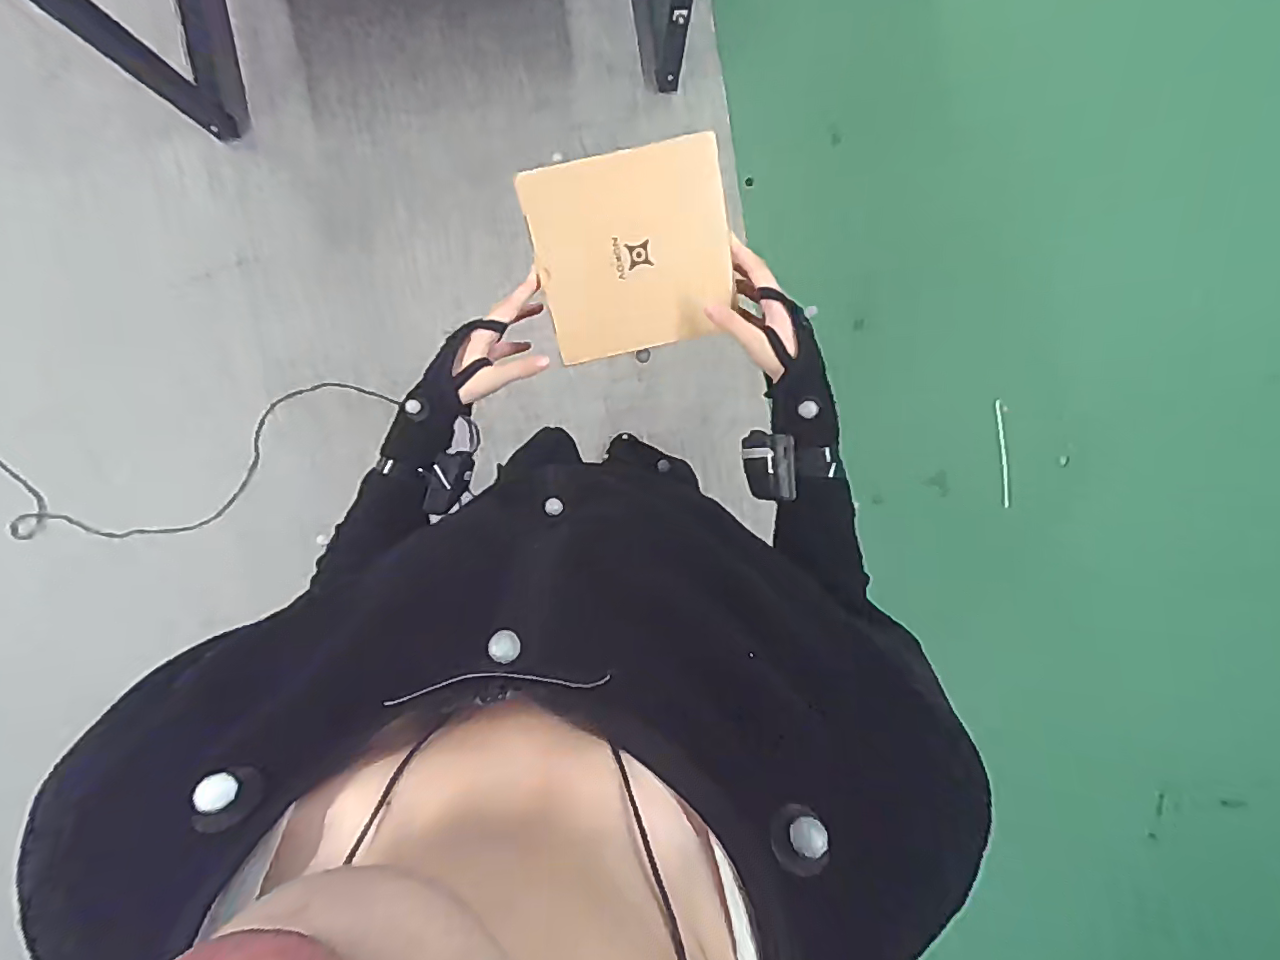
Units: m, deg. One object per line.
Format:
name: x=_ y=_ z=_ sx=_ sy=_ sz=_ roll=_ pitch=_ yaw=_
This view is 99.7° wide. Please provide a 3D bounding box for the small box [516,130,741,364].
small box: x=-0.010 y=-0.232 z=0.559 sx=0.179 sy=0.176 sz=0.168 roll=-14 pitch=110 yaw=2
